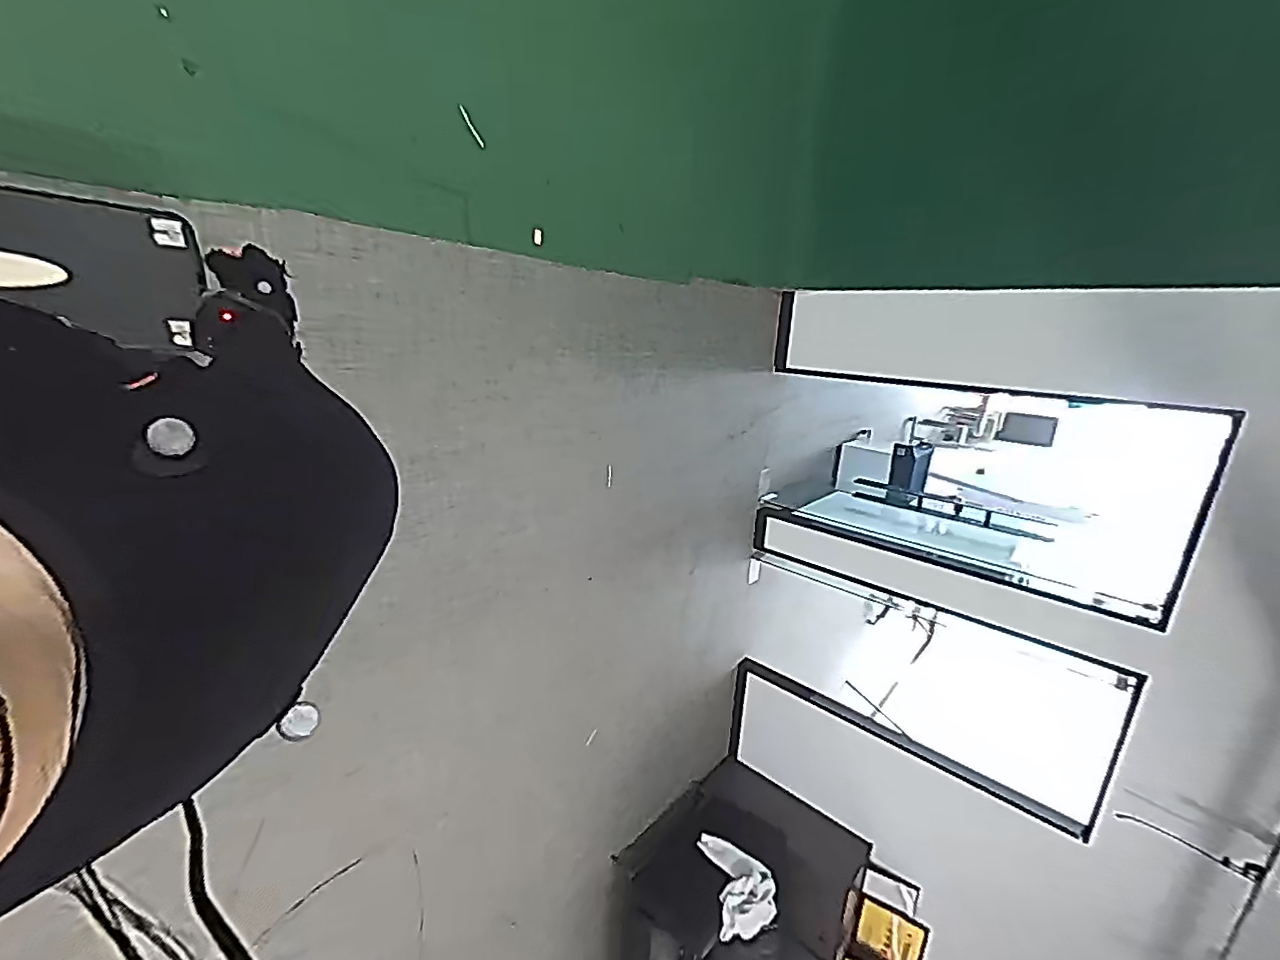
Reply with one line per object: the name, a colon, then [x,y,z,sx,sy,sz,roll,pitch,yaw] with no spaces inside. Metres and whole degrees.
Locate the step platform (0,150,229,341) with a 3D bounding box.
step platform: [-1.053,-0.365,0.802,0.684,0.204,0.286,-14,114,-46]
